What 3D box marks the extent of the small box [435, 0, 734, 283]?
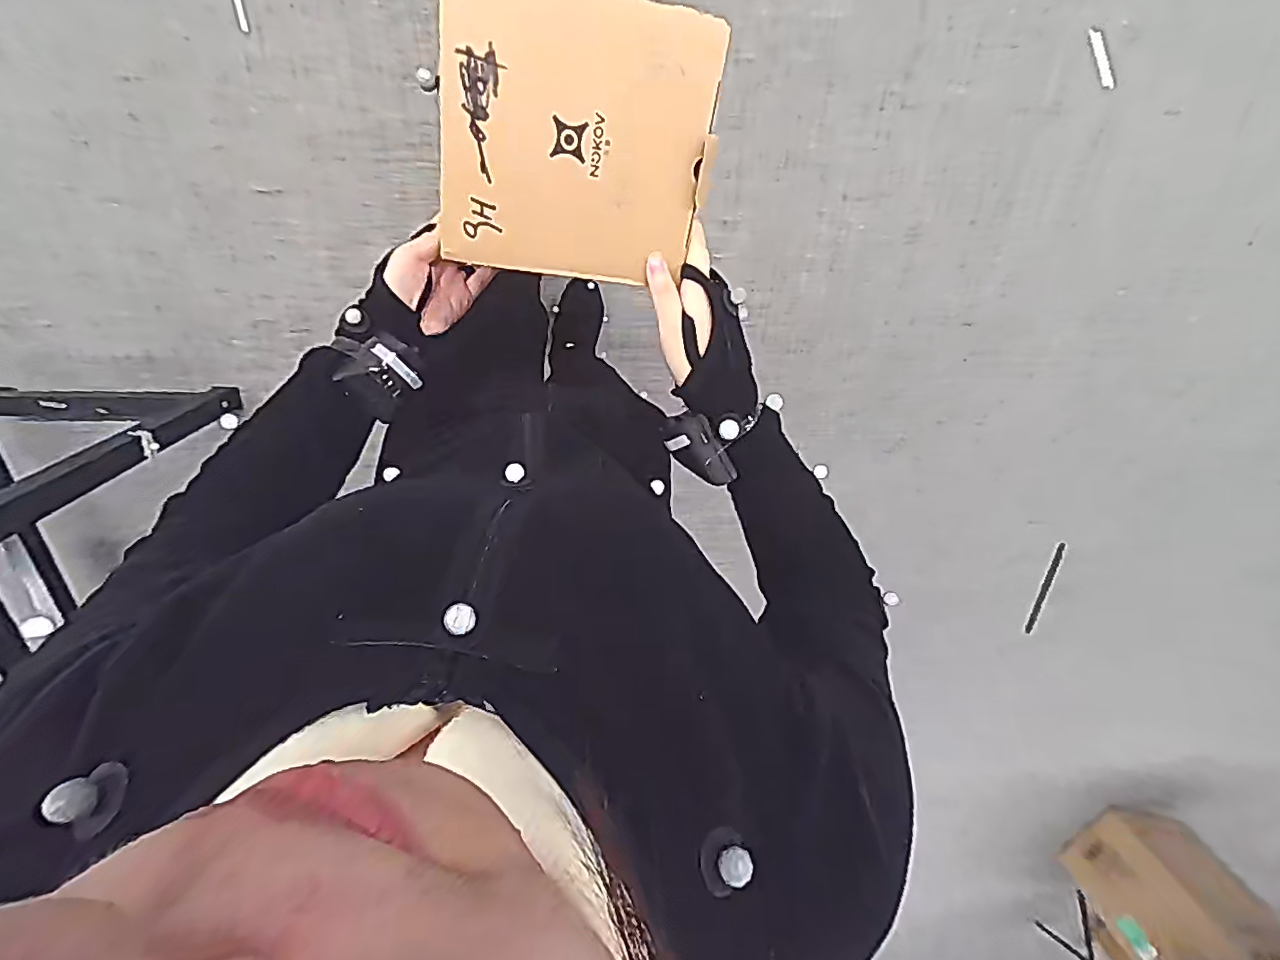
[{"bbox_3d":[-0.059,-0.260,0.409,0.179,0.176,0.168,1,119,-19],"label":"small box"}]
